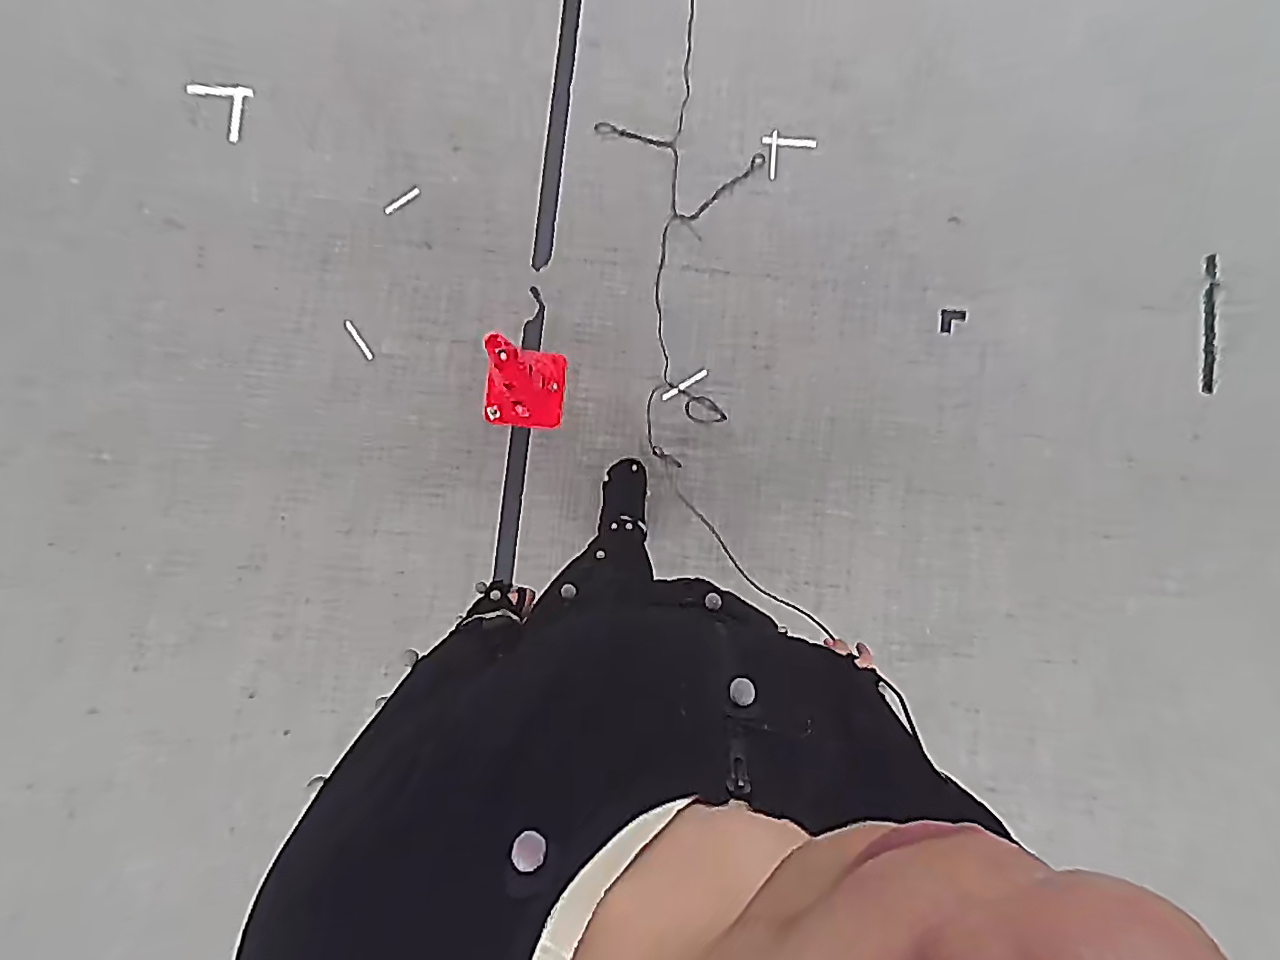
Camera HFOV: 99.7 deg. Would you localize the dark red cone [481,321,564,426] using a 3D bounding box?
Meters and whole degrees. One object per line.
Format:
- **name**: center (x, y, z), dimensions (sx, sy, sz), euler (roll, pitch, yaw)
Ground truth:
- **dark red cone**: center (-0.289, -0.258, 1.211), dimensions (0.201, 0.394, 0.202), euler (5, 84, -3)
